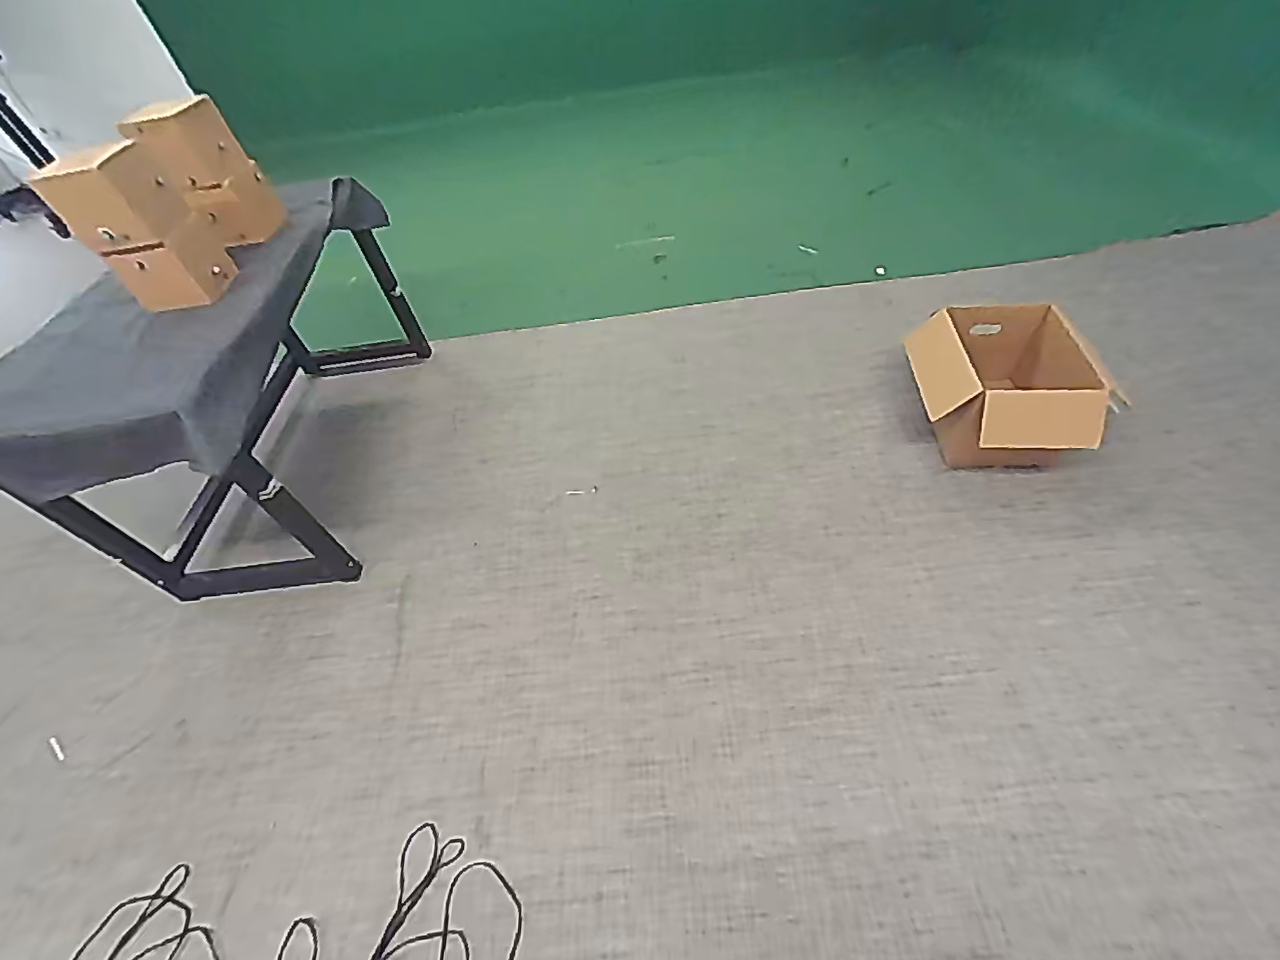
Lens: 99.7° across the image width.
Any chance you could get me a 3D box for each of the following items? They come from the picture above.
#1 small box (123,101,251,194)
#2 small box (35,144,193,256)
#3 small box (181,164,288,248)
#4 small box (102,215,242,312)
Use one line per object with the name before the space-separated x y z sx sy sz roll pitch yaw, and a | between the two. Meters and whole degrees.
small box | -1.230 -0.909 1.478 0.168 0.176 0.179 -3 50 7
small box | -1.205 -0.650 1.260 0.168 0.176 0.179 -9 51 3
small box | -1.195 -0.806 1.607 0.168 0.176 0.179 -6 49 4
small box | -1.186 -0.551 1.388 0.179 0.176 0.168 -7 50 3
